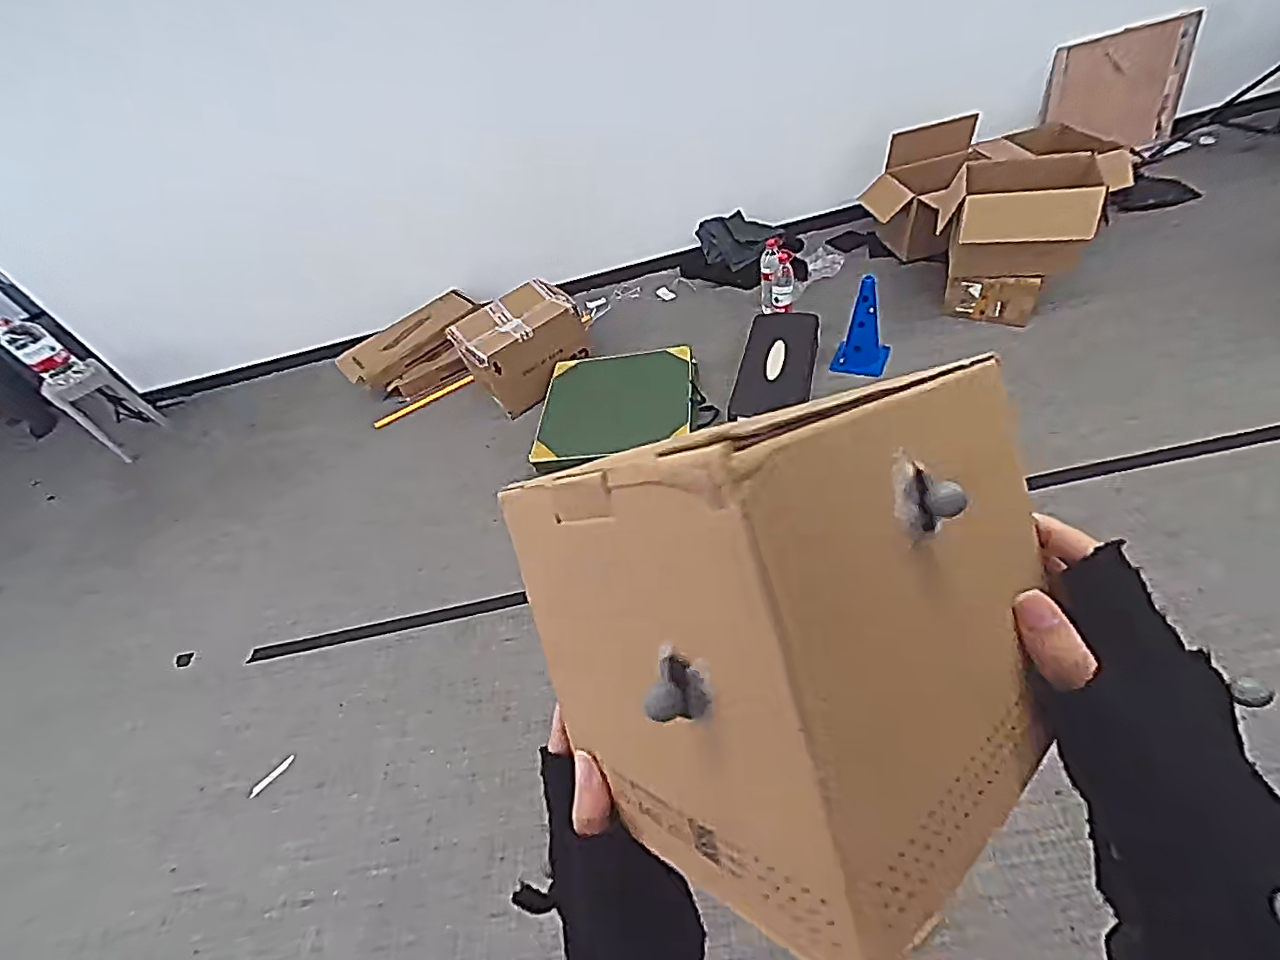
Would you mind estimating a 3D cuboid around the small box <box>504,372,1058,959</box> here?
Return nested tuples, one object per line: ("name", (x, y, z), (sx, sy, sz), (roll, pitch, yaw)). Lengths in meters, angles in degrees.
("small box", (0.063, 0.064, 0.258), (0.179, 0.176, 0.168), (-18, 4, -34))
